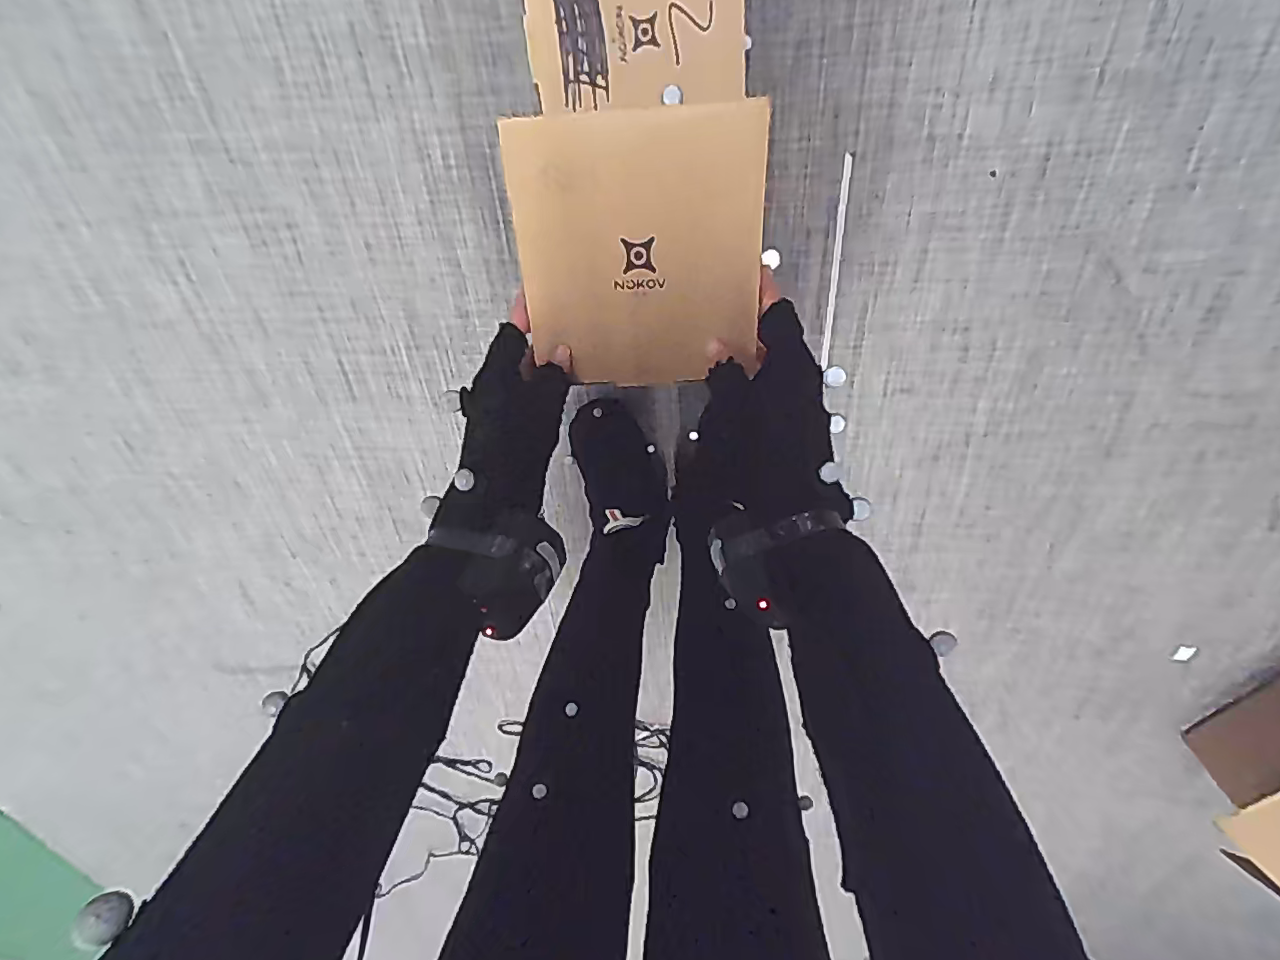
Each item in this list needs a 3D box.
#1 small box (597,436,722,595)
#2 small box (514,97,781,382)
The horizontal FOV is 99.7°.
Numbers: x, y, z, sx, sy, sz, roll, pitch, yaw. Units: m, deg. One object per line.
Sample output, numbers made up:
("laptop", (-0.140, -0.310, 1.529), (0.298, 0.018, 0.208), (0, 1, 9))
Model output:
("small box", (0.021, 0.050, 0.812), (0.168, 0.176, 0.179), (-2, 124, -3))
("small box", (0.012, -0.191, 0.435), (0.168, 0.176, 0.179), (0, 122, 6))
